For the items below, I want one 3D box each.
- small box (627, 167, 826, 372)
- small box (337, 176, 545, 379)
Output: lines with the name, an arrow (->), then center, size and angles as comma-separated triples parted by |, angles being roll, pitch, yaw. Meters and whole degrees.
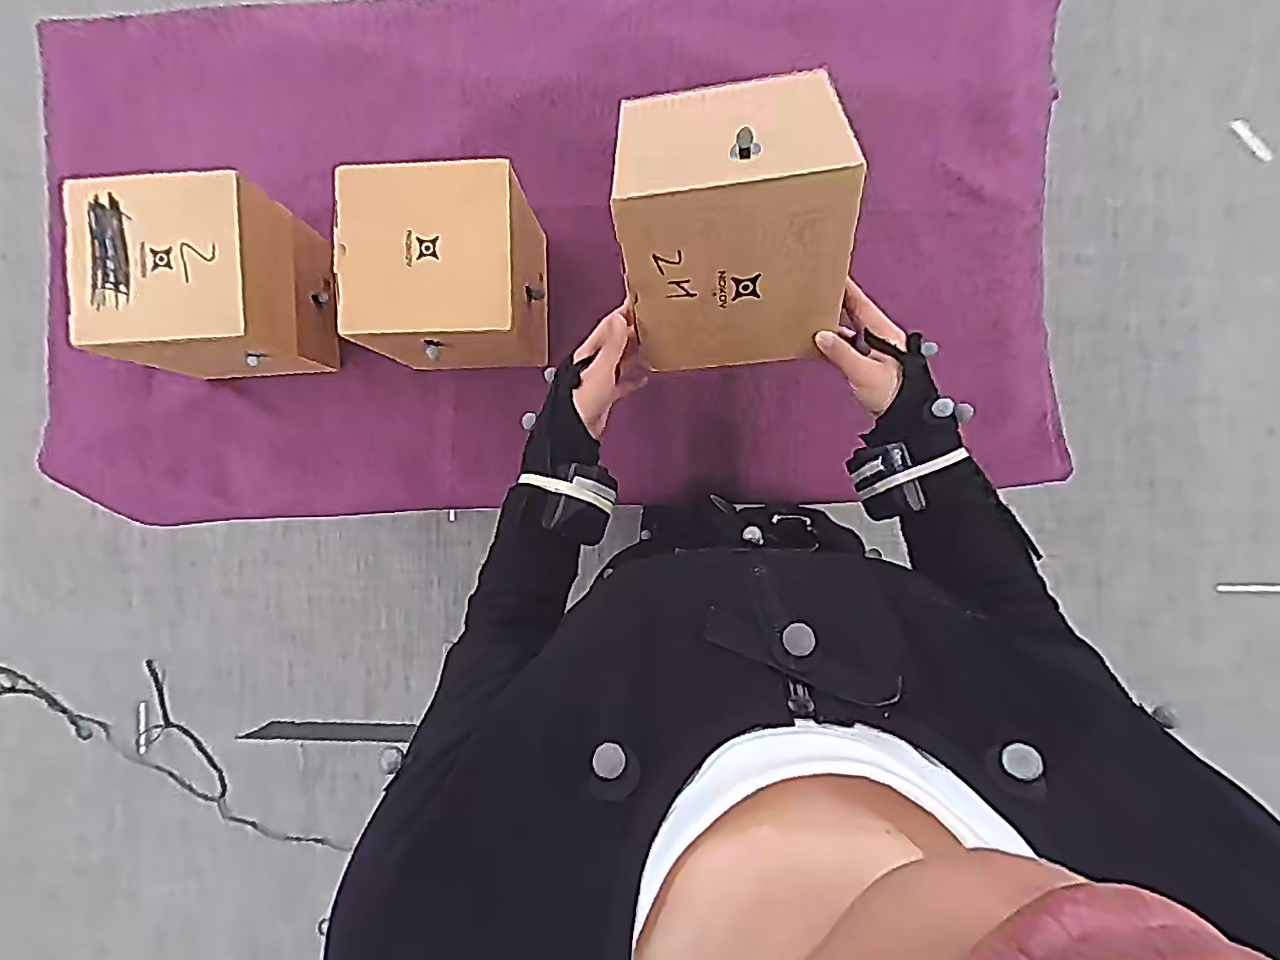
small box -> 0.085, -0.203, 0.568 | 0.179, 0.176, 0.168 | -4, 100, 6
small box -> -0.206, -0.211, 0.606 | 0.179, 0.176, 0.168 | -2, 89, 4
